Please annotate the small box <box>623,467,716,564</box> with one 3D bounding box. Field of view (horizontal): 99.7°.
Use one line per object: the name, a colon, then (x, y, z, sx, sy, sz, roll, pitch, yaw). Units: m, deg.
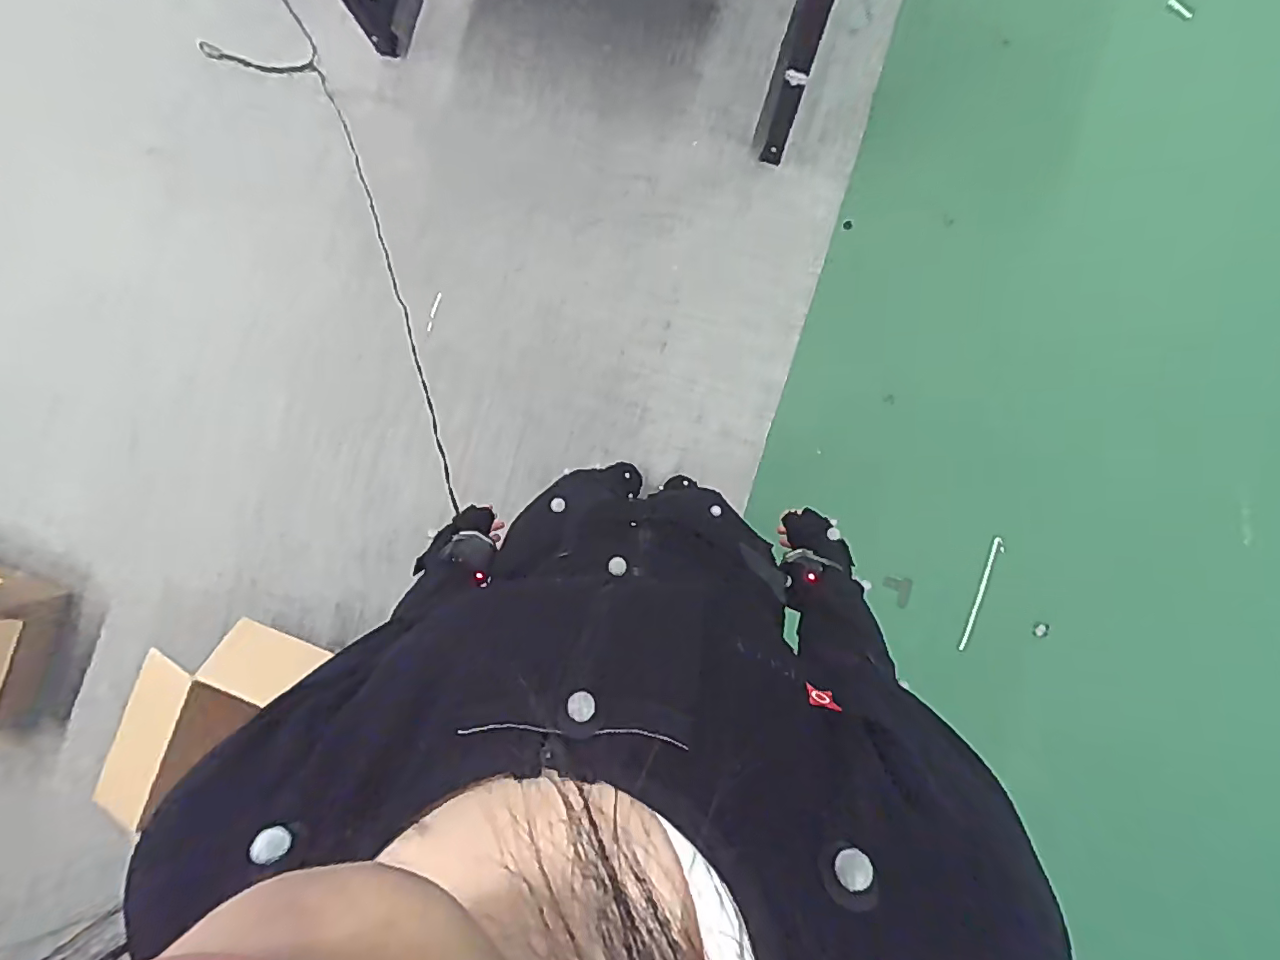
small box: (0.070, 0.094, 1.411, 0.179, 0.176, 0.168, -17, 60, -19)
